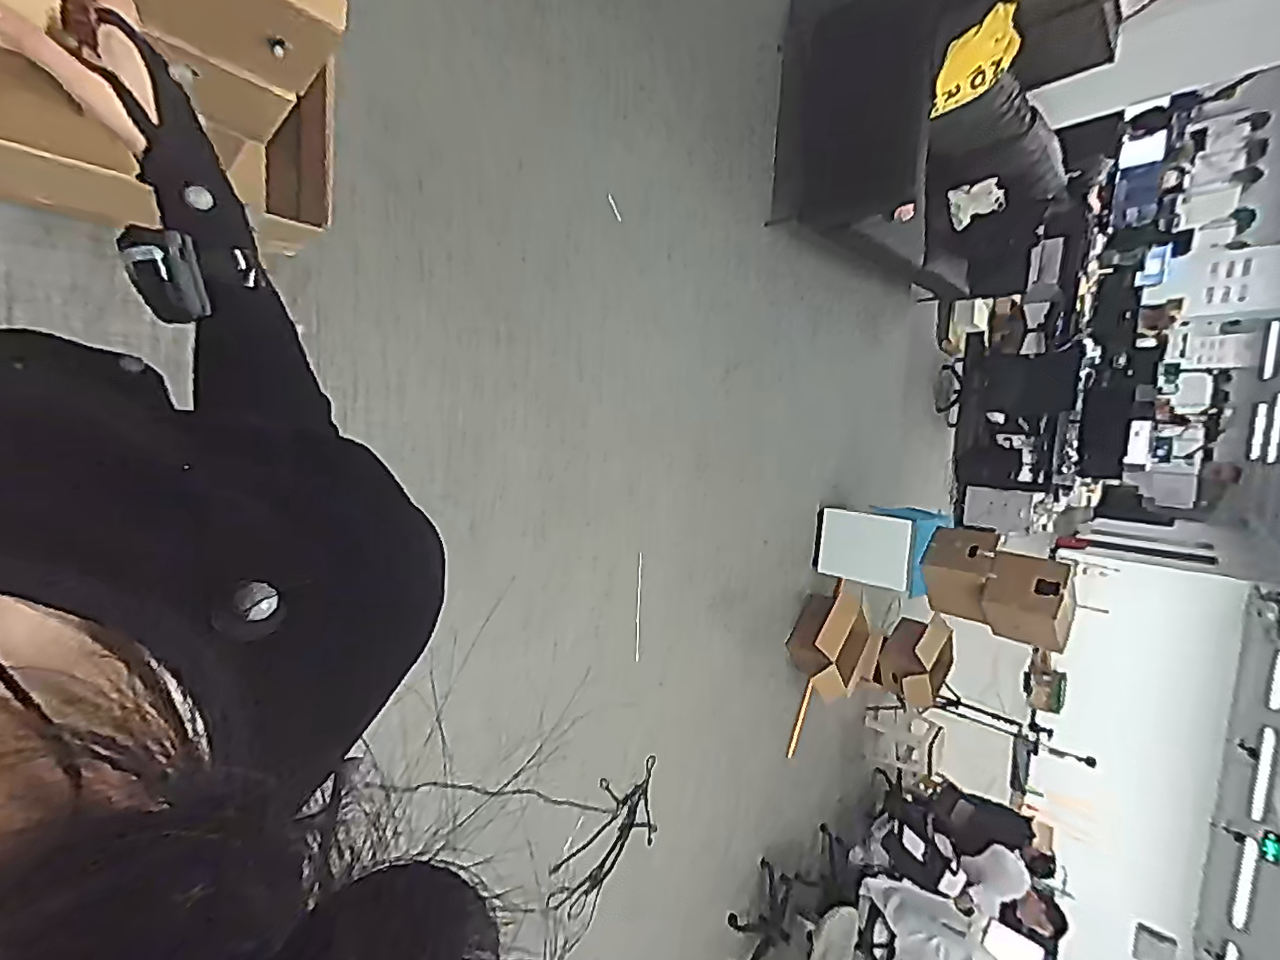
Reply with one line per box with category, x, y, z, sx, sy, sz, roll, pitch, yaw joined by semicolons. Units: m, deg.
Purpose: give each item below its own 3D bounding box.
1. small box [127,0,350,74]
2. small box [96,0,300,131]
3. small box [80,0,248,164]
small box;-0.400;-0.547;0.531;0.179;0.176;0.168;4;93;-45
small box;-0.519;-0.556;0.642;0.179;0.176;0.168;4;94;-46
small box;-0.644;-0.577;0.747;0.168;0.176;0.179;7;92;-46
